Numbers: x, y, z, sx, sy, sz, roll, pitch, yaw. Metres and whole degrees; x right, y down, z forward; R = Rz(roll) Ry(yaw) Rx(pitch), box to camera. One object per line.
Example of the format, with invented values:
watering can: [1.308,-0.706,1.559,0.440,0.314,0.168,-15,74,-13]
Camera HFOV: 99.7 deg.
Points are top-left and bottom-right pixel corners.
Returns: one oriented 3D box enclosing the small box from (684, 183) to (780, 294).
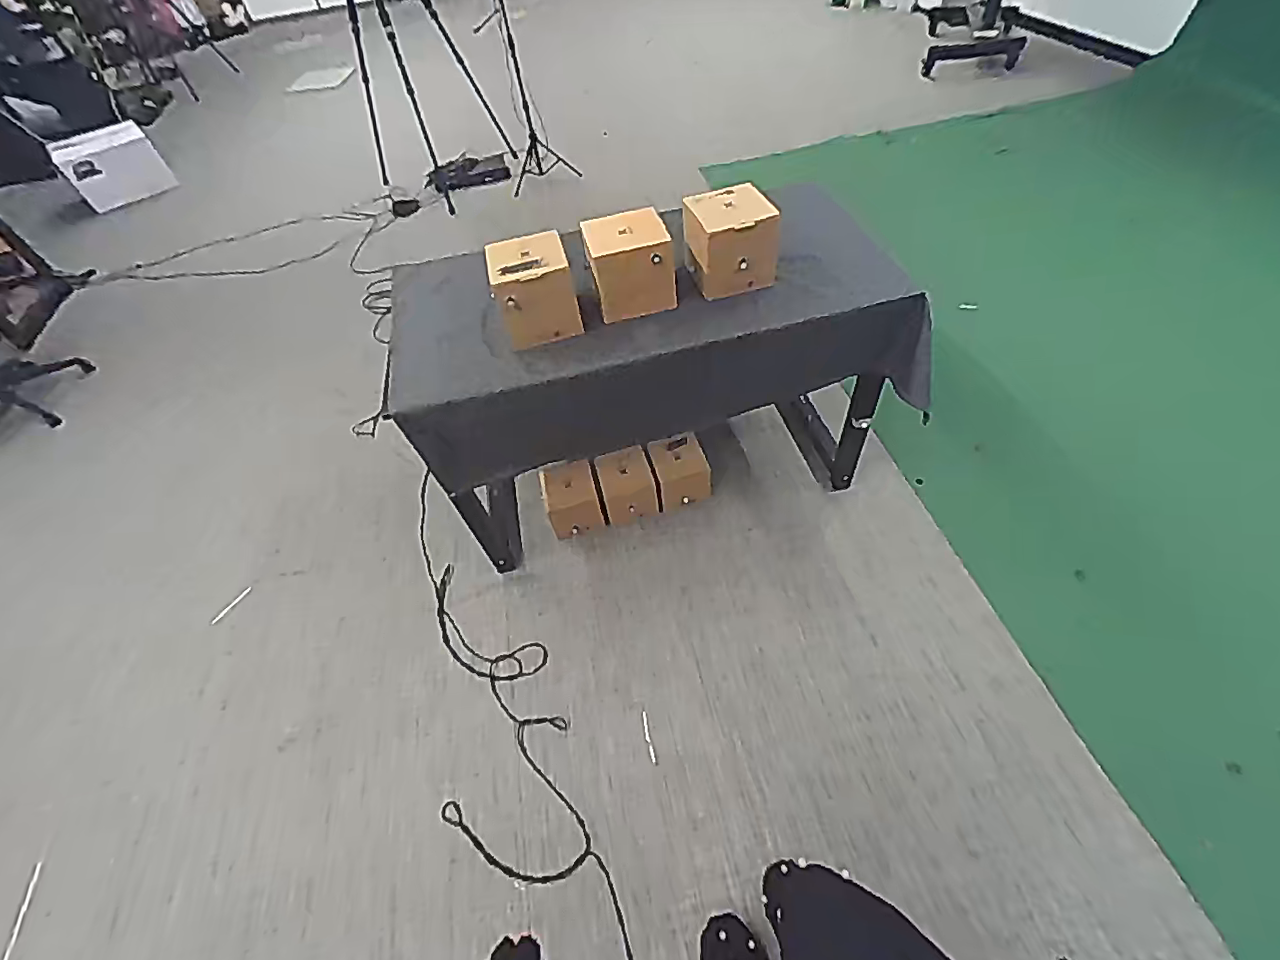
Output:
small box: [0.207,-0.549,1.248,0.168,0.176,0.179,-15,52,-5]
